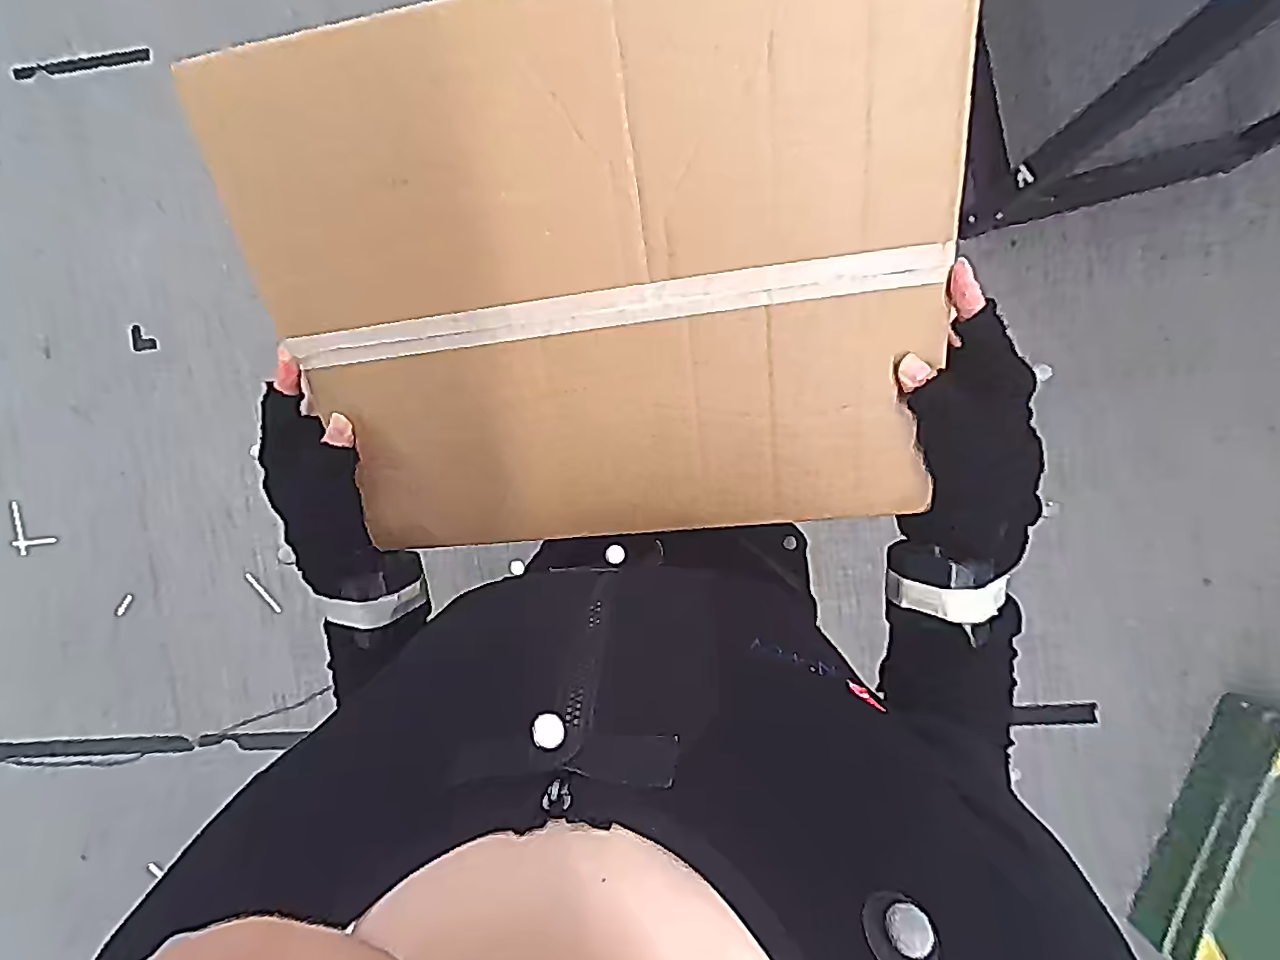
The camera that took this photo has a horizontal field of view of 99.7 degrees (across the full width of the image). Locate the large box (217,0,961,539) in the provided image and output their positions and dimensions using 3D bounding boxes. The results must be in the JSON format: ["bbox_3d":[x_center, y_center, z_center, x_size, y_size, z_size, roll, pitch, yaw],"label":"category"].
[{"bbox_3d":[-0.012,-0.171,0.469,0.408,0.320,0.320,-5,116,9],"label":"large box"}]
